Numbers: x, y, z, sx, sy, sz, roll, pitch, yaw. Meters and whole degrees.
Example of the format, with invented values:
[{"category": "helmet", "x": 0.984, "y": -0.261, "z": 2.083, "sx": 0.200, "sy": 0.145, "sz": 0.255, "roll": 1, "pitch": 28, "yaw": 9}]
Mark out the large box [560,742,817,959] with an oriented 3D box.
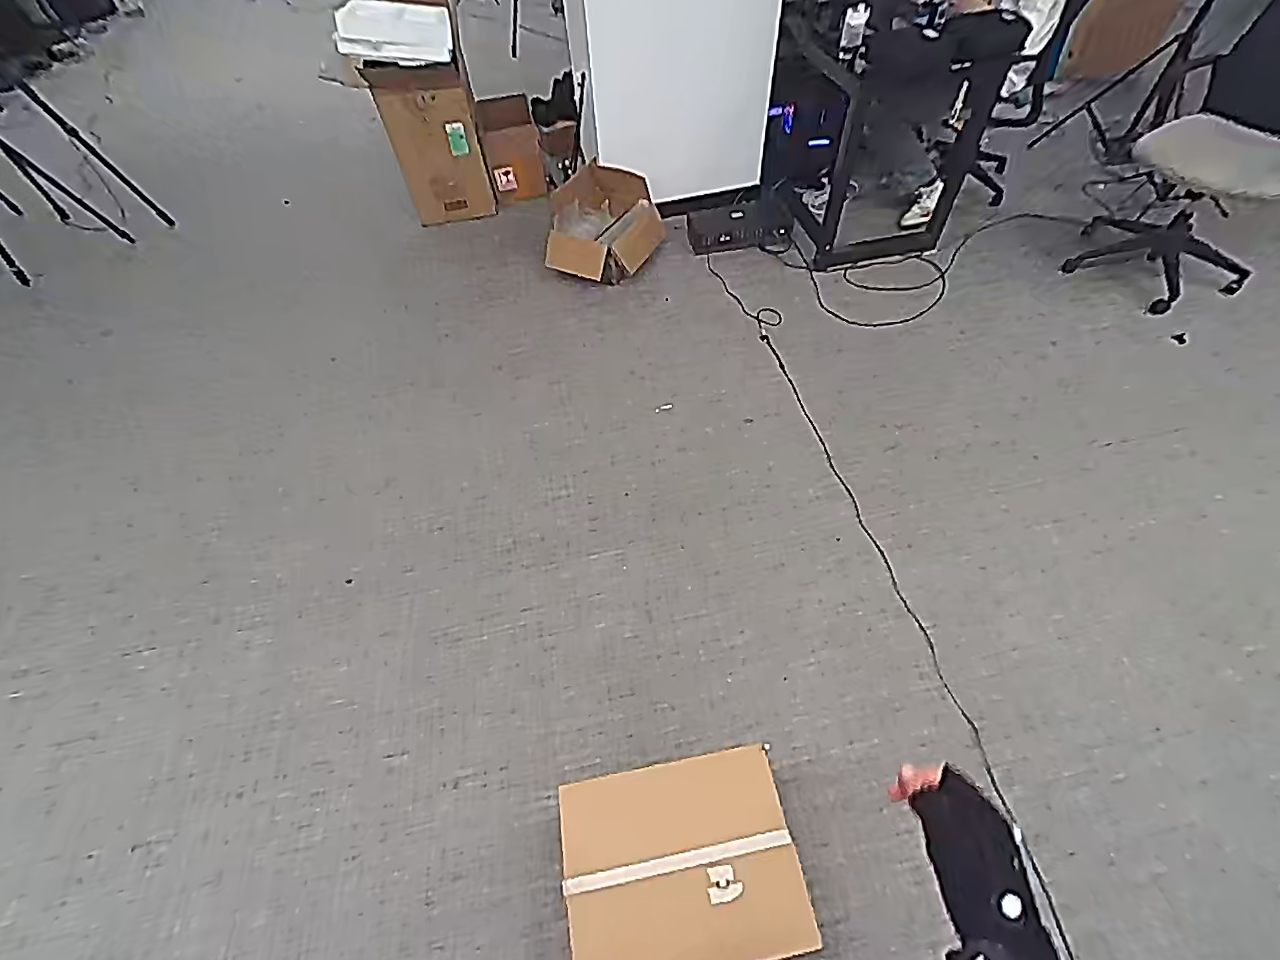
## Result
[{"category": "large box", "x": 0.076, "y": 0.763, "z": 1.077, "sx": 0.408, "sy": 0.320, "sz": 0.320, "roll": -10, "pitch": 54, "yaw": -5}]
